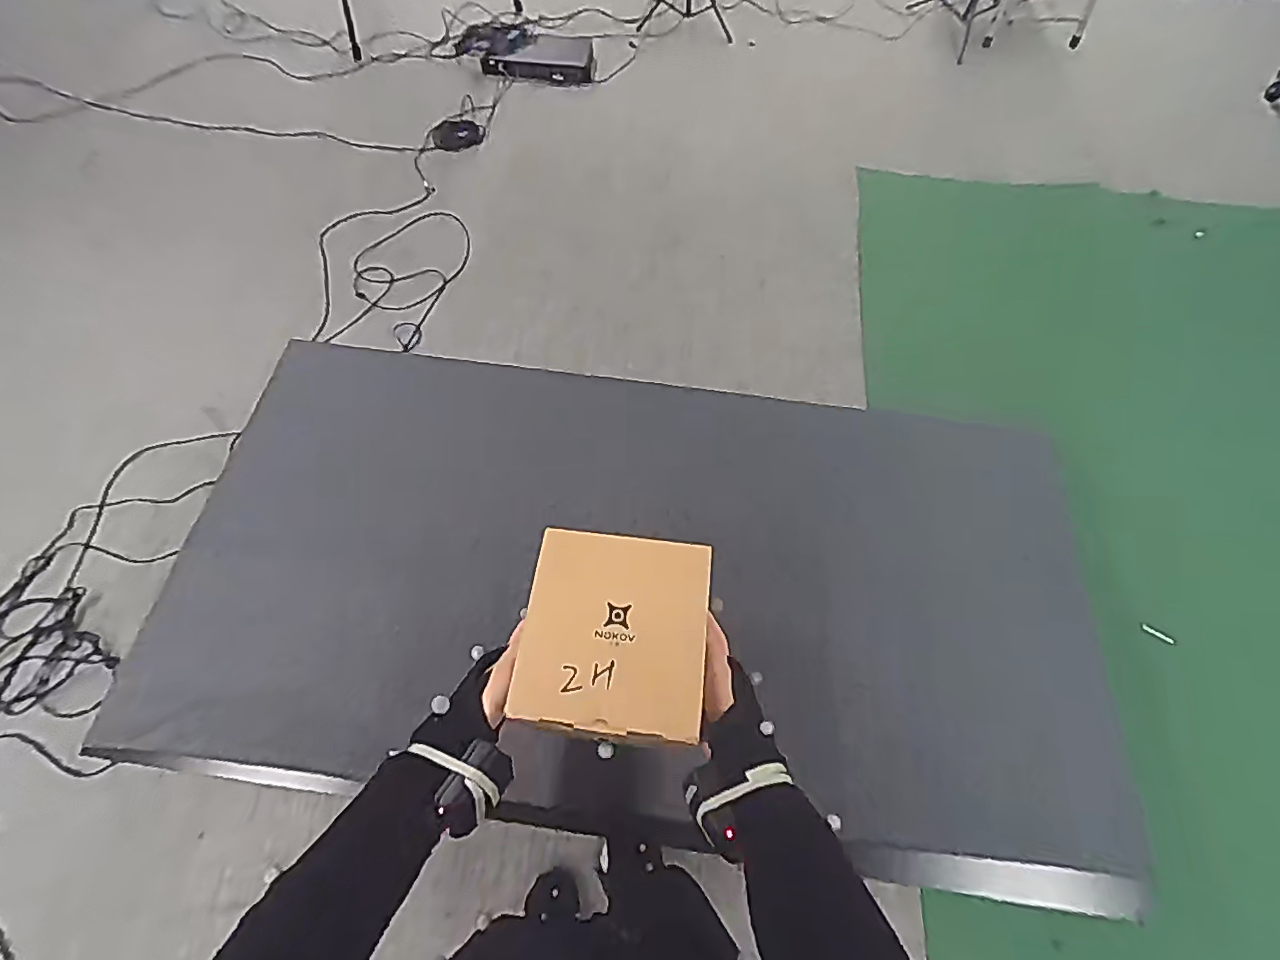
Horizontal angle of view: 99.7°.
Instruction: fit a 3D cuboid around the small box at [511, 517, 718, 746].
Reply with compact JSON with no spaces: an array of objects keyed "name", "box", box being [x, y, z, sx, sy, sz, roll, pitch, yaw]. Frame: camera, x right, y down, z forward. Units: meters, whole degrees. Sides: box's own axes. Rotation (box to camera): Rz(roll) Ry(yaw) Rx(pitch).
[{"name":"small box","box":[-0.017,0.159,0.552,0.168,0.176,0.179,6,60,4]}]
